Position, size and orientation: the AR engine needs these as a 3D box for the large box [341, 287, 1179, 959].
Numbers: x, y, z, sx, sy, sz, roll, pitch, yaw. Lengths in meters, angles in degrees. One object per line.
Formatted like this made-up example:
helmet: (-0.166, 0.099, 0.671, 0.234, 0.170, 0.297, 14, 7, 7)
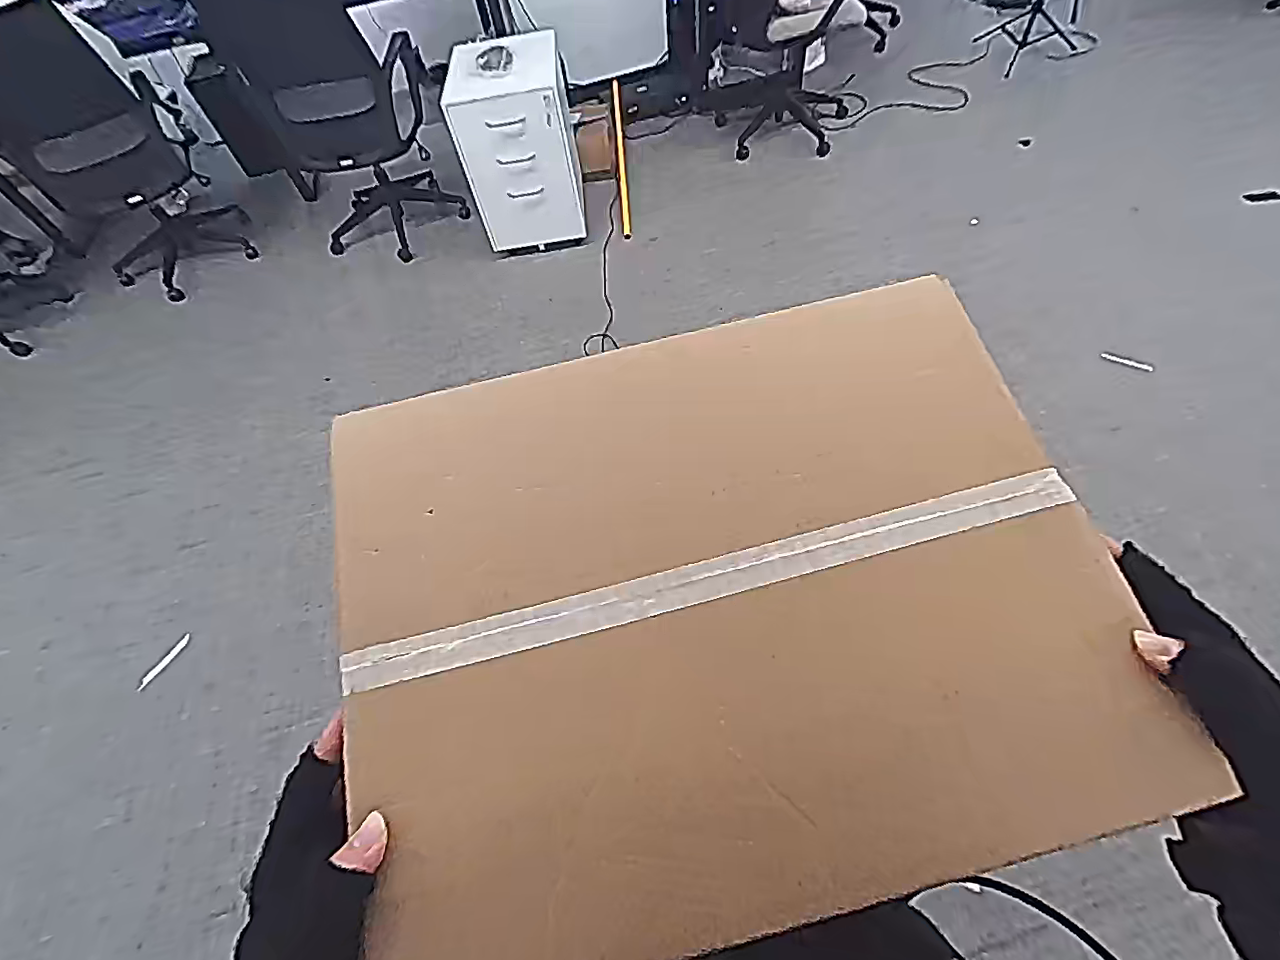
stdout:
large box: (0.046, 0.108, 0.444, 0.408, 0.320, 0.320, -15, 69, -2)
